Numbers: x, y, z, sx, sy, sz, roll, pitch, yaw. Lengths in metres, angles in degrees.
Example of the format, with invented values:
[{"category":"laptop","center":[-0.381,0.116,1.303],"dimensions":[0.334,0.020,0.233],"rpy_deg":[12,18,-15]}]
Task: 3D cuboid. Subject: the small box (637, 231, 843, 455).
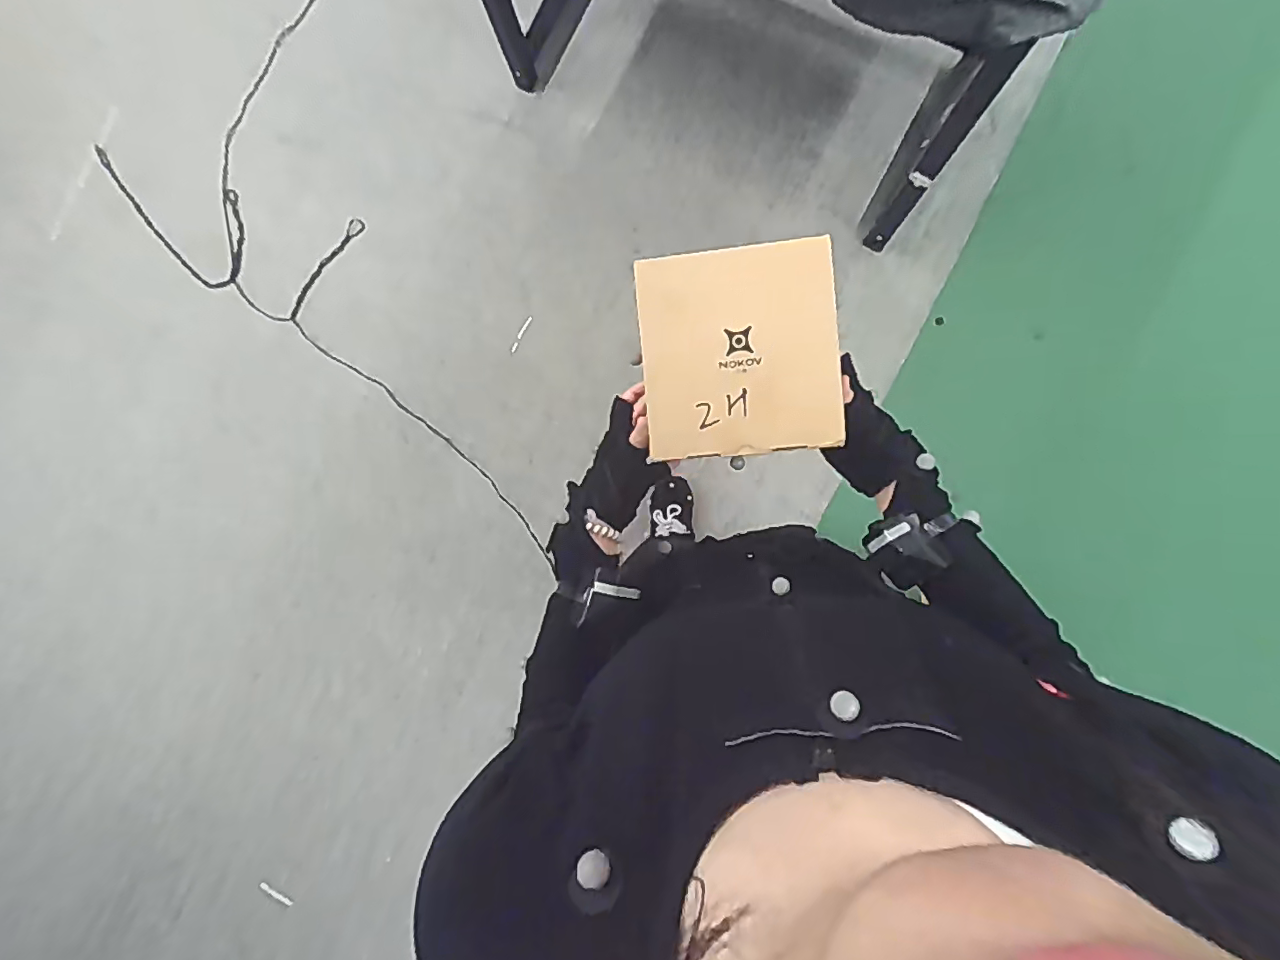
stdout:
[{"category":"small box","center":[0.090,-0.117,0.534],"dimensions":[0.168,0.176,0.179],"rpy_deg":[-4,92,6]}]
